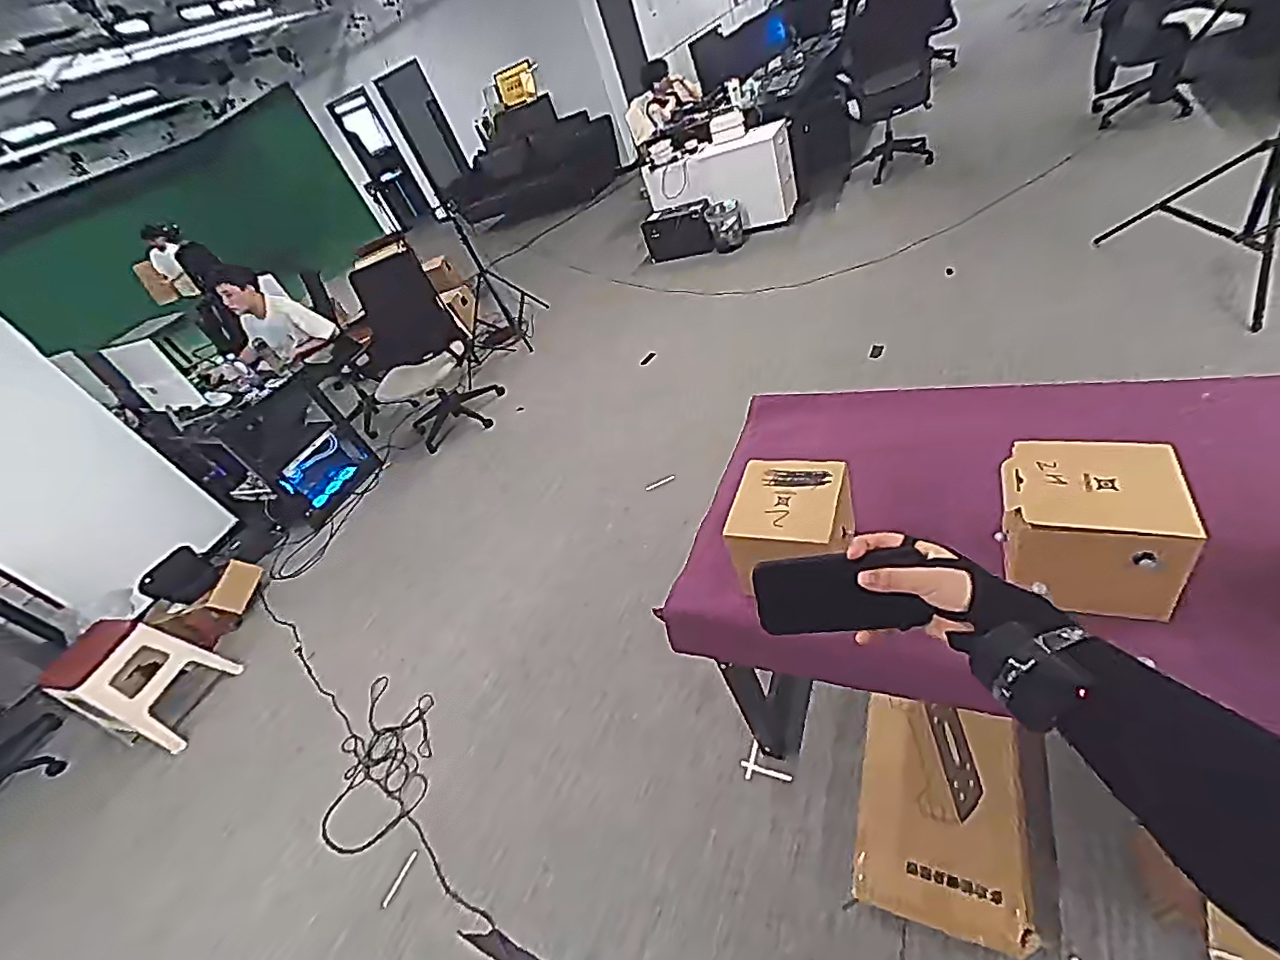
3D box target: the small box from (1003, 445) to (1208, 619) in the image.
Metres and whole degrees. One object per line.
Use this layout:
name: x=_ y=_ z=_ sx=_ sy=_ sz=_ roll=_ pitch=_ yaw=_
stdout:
small box: x=0.613 y=0.069 z=0.740 sx=0.179 sy=0.176 sz=0.168 roll=1 pitch=43 yaw=30
